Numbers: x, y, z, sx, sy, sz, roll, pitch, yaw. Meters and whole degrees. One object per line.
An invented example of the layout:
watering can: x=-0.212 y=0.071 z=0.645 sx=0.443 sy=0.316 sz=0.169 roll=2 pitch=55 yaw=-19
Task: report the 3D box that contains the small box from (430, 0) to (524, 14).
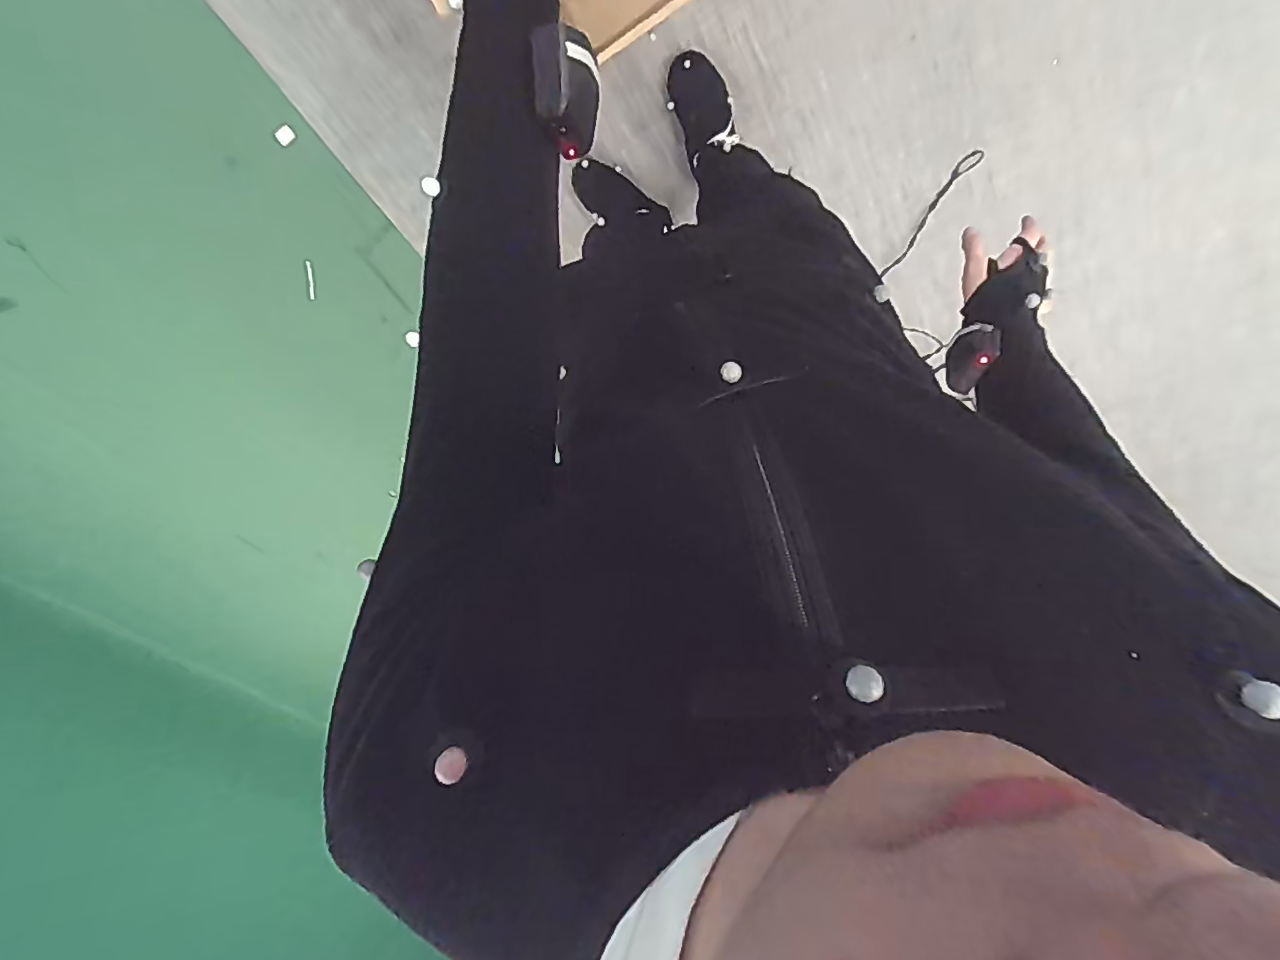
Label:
small box: x=-0.117 y=-0.511 z=0.428 sx=0.168 sy=0.176 sz=0.179 roll=-16 pitch=128 yaw=17
